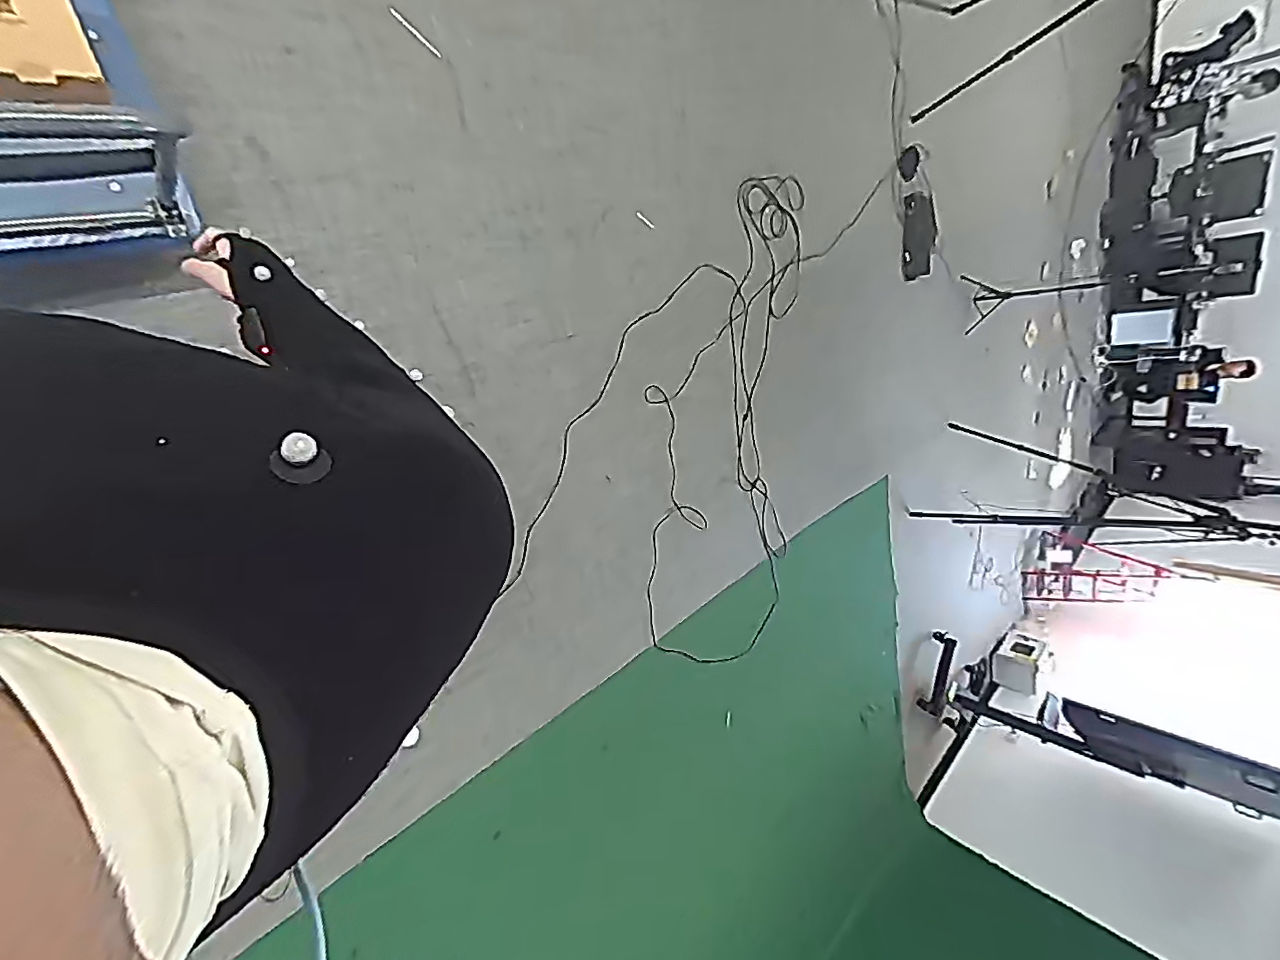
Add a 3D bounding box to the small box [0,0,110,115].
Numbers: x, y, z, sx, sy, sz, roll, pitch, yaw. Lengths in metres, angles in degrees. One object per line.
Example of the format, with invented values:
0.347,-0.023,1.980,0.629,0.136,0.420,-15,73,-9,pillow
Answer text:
-1.007,-0.722,0.872,0.168,0.176,0.179,-26,114,-34,small box
